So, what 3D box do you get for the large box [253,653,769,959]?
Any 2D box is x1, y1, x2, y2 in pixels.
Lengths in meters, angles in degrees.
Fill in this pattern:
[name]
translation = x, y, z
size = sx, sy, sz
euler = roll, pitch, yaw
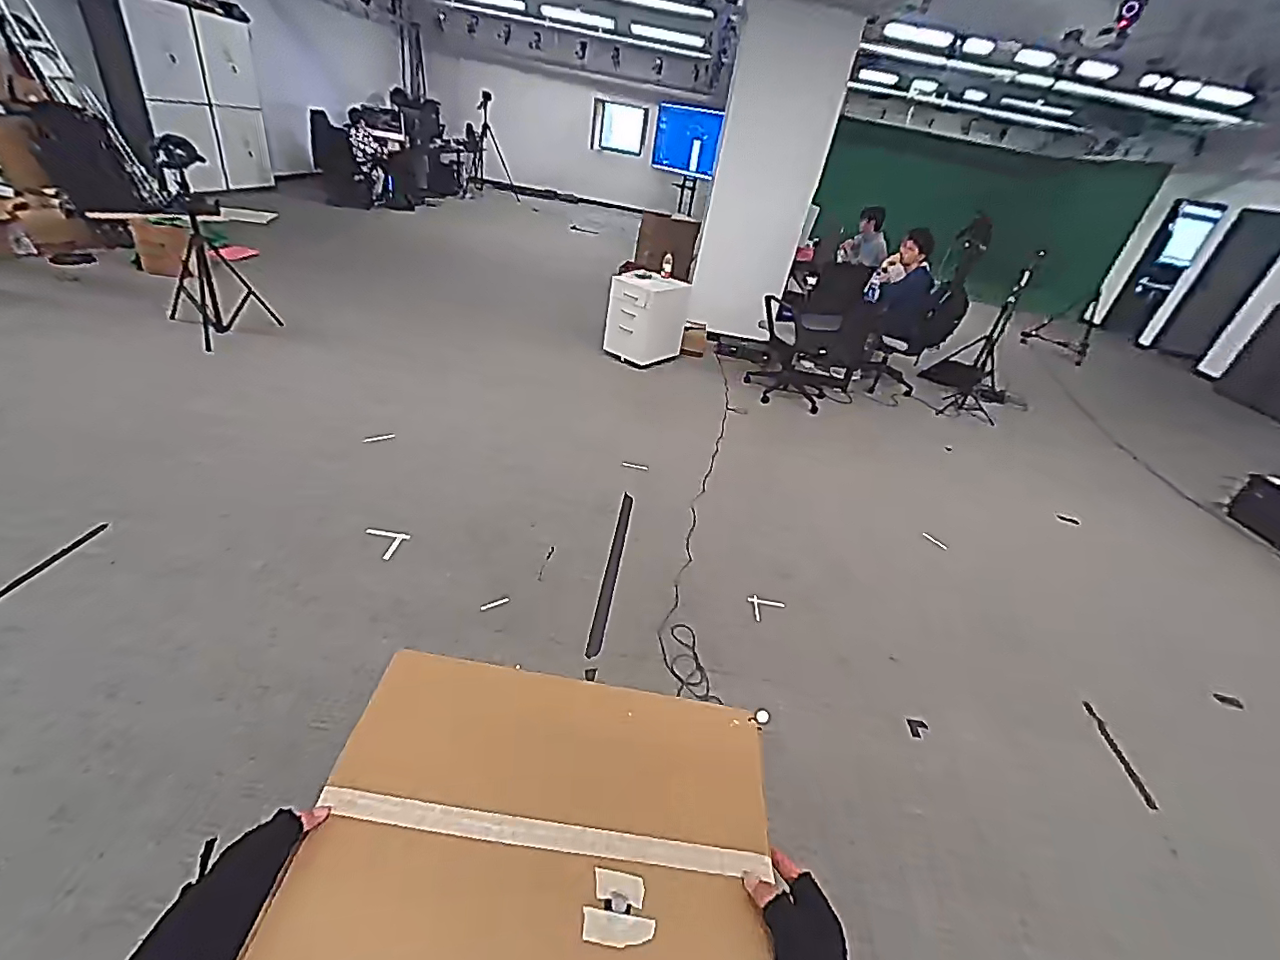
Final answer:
[large box]
translation = -0.110, 0.435, 0.584
size = 0.408, 0.320, 0.320
euler = 11, 37, -3
